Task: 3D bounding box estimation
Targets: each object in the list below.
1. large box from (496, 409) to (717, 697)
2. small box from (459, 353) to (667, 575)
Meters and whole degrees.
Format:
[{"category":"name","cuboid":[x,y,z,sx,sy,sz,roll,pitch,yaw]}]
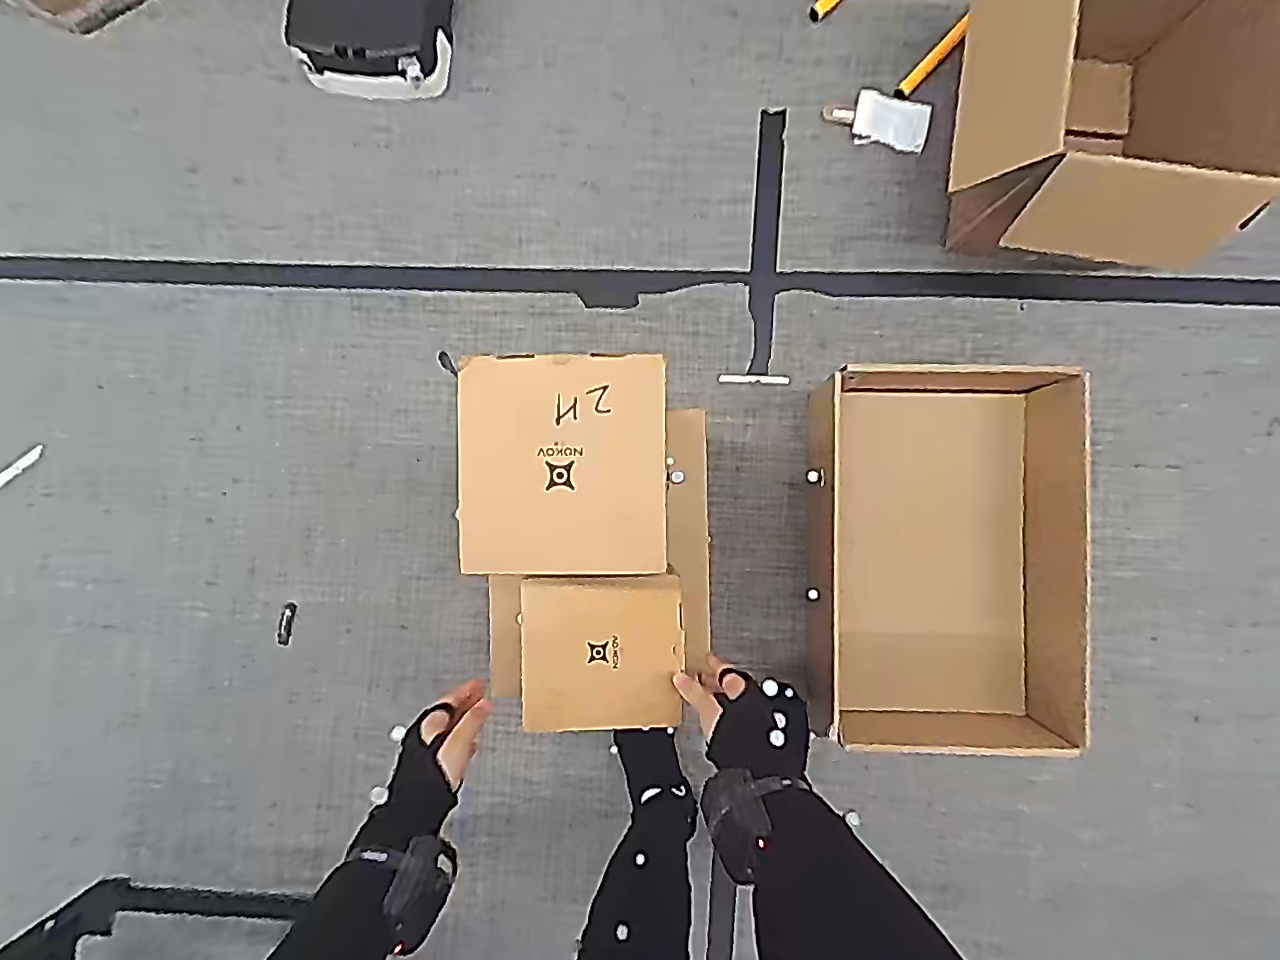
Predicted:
[{"category":"large box","cuboid":[-0.049,0.104,0.911,0.320,0.320,0.408,-2,89,3]},{"category":"small box","cuboid":[-0.058,-0.013,0.504,0.168,0.176,0.179,0,89,1]}]
